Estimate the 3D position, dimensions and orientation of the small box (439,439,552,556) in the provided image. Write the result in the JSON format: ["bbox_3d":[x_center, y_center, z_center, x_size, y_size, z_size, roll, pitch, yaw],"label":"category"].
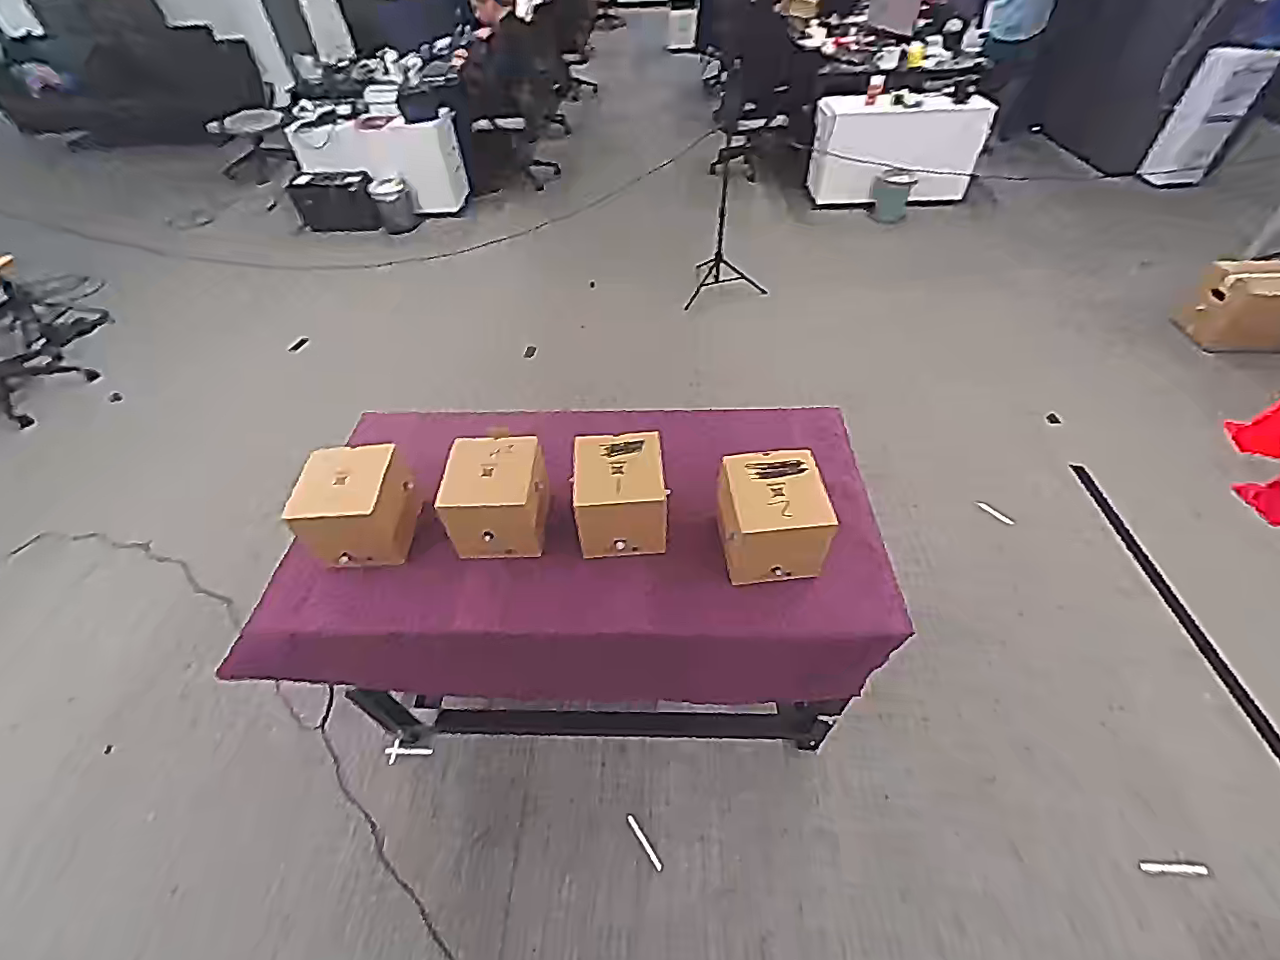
[{"bbox_3d":[-0.276,0.039,1.080,0.168,0.176,0.179,-1,47,1],"label":"small box"}]

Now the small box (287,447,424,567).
[{"bbox_3d":[-0.550,0.055,1.078,0.168,0.176,0.179,-3,47,0],"label":"small box"}]

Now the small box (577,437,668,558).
[{"bbox_3d":[-0.034,0.035,1.075,0.168,0.176,0.179,-4,48,-1],"label":"small box"}]
